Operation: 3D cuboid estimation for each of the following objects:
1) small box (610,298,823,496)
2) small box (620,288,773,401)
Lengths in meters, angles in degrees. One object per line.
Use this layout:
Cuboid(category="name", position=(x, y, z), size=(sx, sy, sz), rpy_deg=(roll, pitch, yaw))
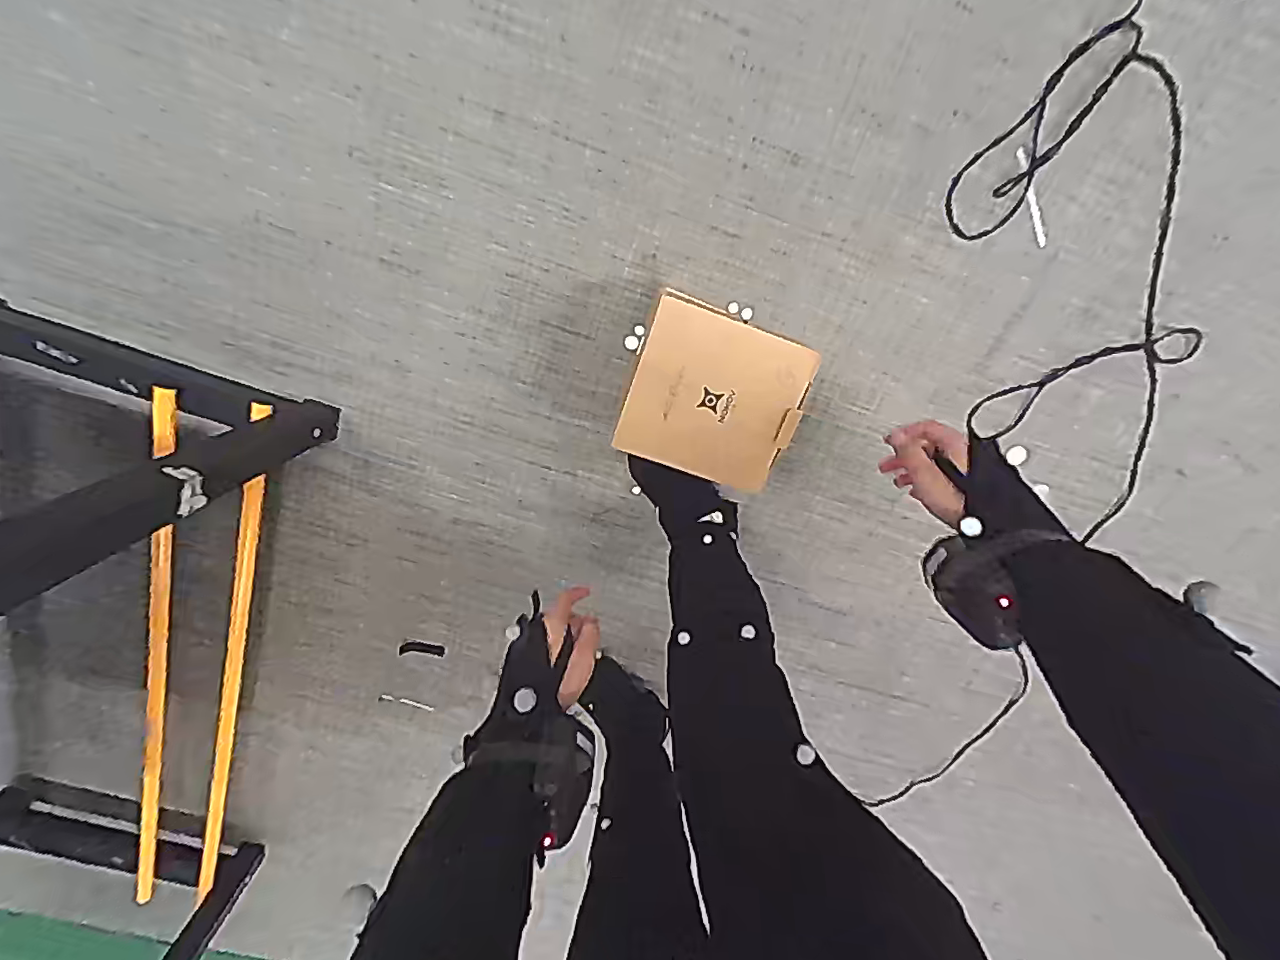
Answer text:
Cuboid(category="small box", position=(0.077, -0.107, 0.629), size=(0.179, 0.176, 0.168), rpy_deg=(18, 109, -5))
Cuboid(category="small box", position=(0.081, -0.169, 0.779), size=(0.179, 0.176, 0.168), rpy_deg=(20, 109, -9))
